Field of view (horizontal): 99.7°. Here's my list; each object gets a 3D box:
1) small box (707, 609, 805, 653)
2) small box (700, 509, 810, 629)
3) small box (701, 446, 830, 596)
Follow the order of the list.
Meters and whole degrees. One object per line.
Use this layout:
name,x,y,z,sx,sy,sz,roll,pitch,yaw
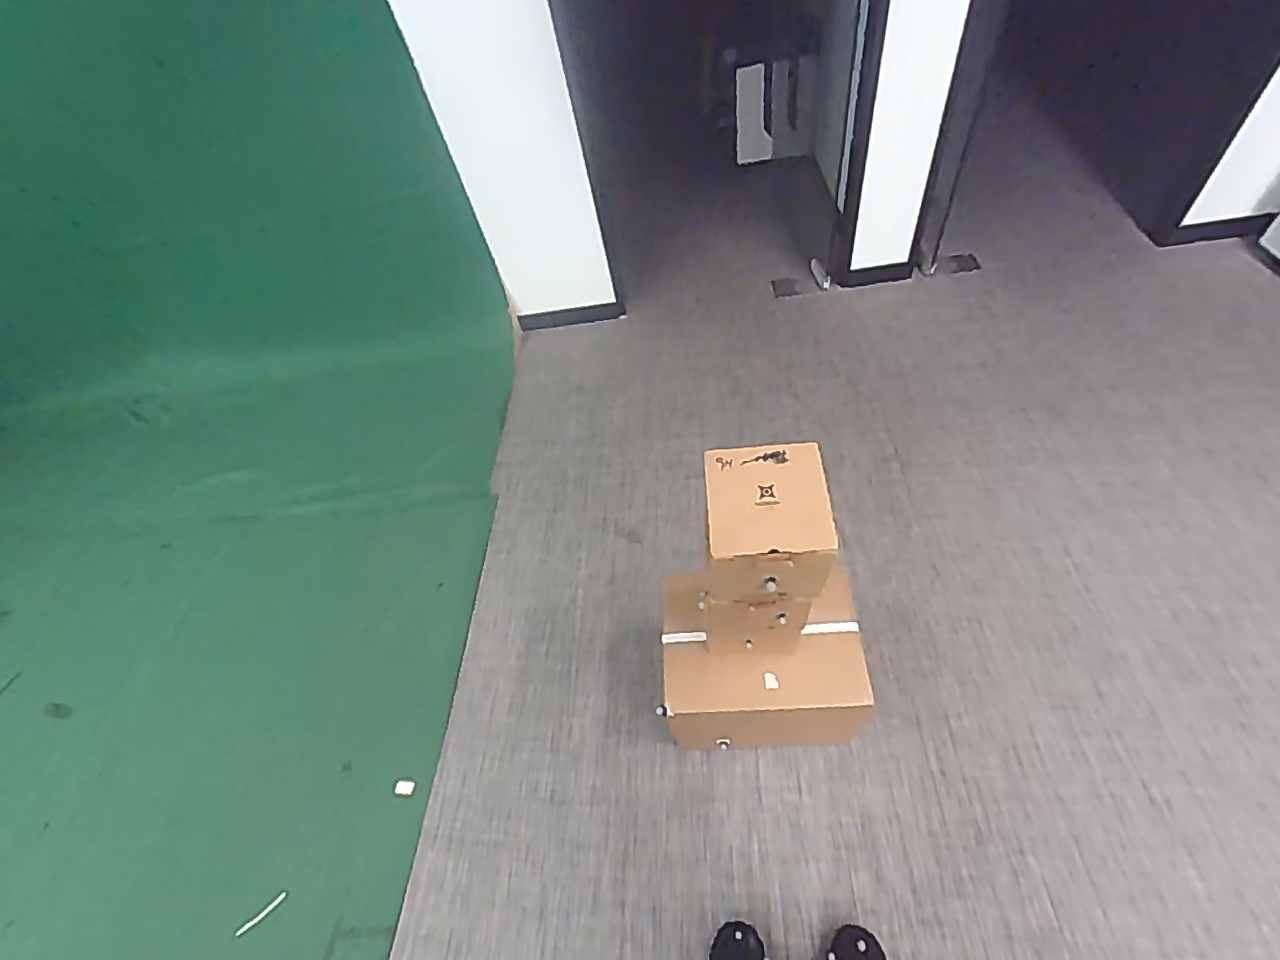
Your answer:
small box,0.223,0.245,1.094,0.179,0.176,0.168,-6,58,7
small box,0.199,0.159,0.960,0.168,0.176,0.179,-5,57,7
small box,0.184,0.071,0.822,0.168,0.176,0.179,-4,59,8
